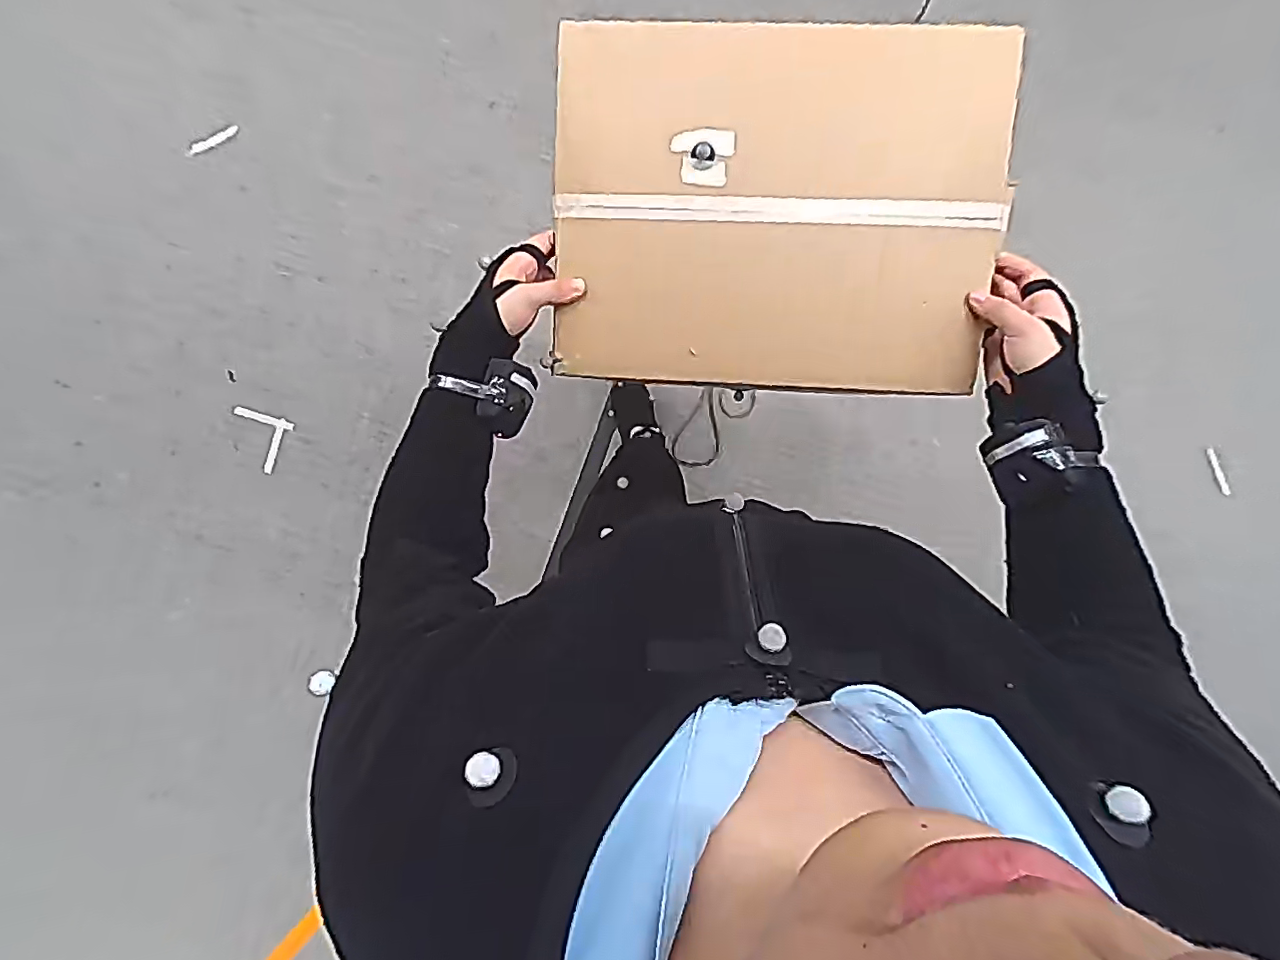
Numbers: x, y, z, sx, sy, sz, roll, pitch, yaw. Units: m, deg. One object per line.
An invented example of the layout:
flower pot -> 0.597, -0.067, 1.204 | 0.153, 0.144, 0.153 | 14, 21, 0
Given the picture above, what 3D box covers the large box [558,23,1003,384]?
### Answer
large box -> 0.134, -0.278, 0.658 | 0.408, 0.320, 0.320 | 3, 98, 5
